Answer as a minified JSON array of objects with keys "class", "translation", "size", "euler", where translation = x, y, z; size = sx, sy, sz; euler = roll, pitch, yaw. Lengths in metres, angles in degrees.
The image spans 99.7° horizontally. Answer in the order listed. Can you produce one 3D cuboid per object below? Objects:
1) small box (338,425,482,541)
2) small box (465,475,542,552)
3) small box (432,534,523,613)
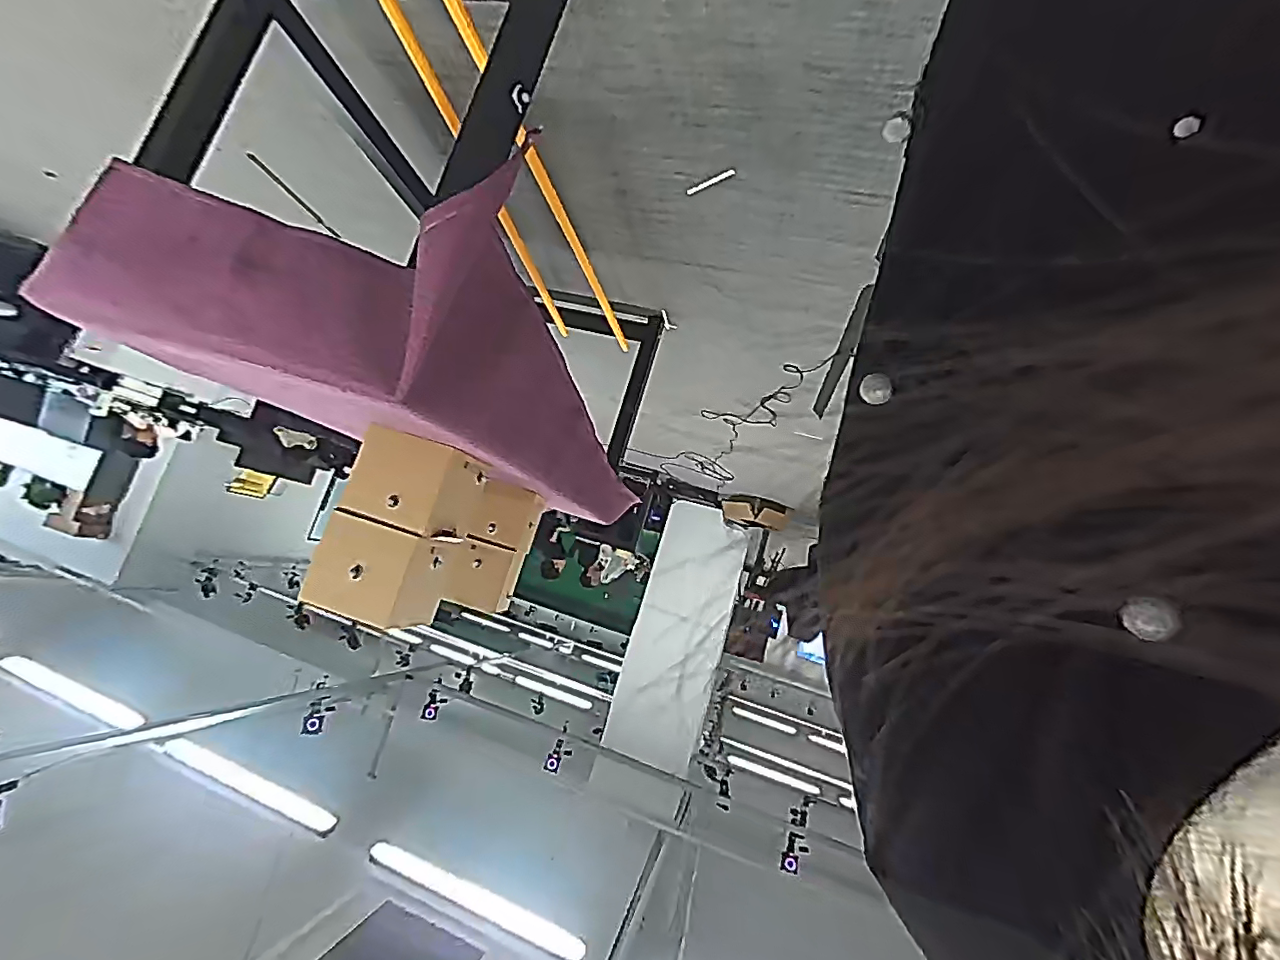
[{"class":"small box","translation":[-0.421,0.008,1.027],"size":[0.179,0.176,0.168],"euler":[17,171,10]},{"class":"small box","translation":[-0.378,0.092,1.482],"size":[0.179,0.176,0.168],"euler":[17,170,2]},{"class":"small box","translation":[-0.427,0.246,1.451],"size":[0.168,0.176,0.179],"euler":[16,170,0]}]
